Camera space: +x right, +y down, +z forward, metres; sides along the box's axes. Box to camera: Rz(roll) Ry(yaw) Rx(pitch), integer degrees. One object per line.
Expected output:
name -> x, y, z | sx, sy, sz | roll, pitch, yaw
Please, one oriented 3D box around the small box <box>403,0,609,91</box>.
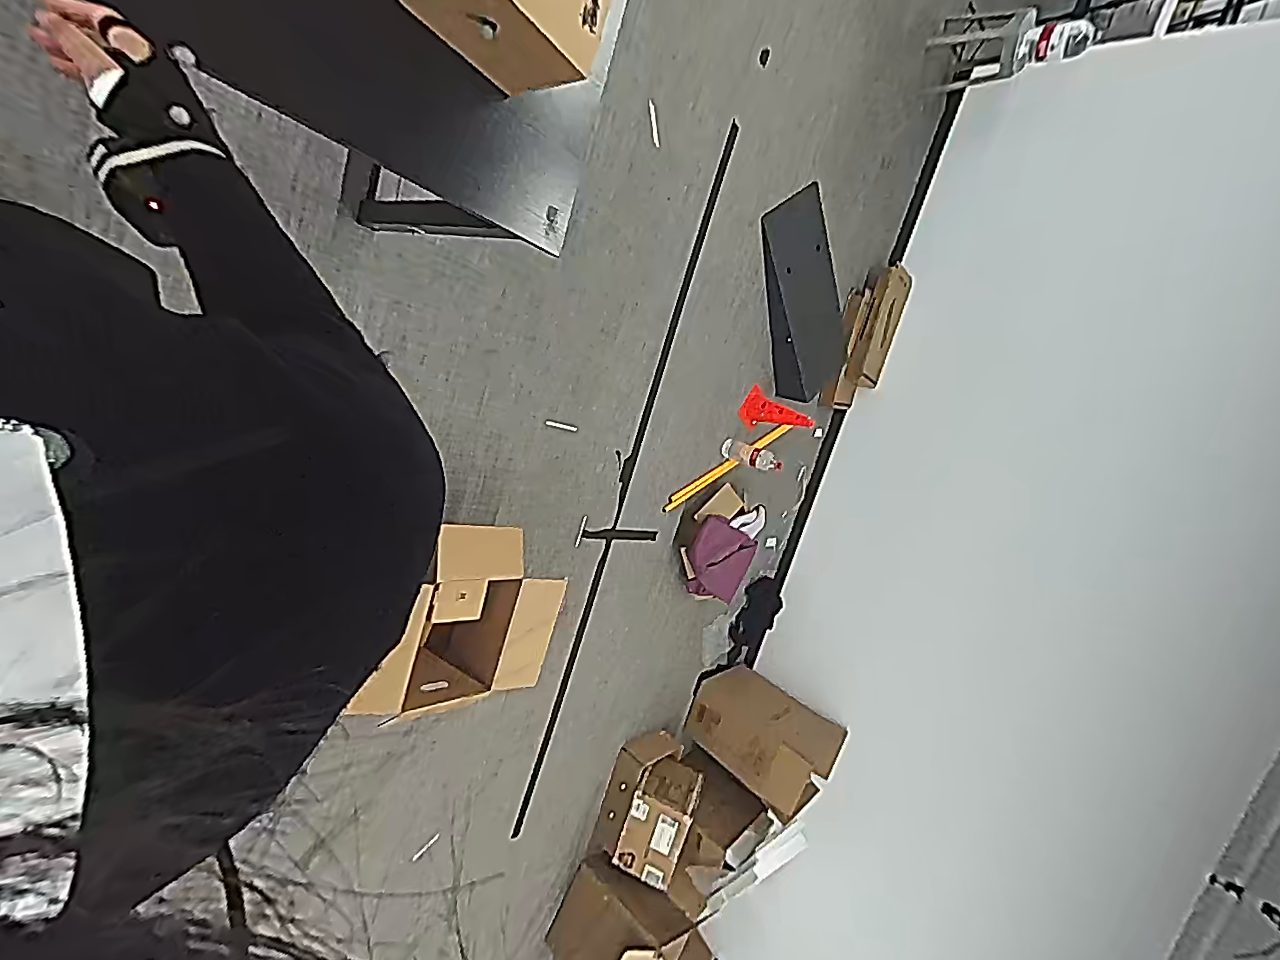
small box -> -0.154, -0.602, 0.641 | 0.179, 0.176, 0.168 | 12, 99, -50
